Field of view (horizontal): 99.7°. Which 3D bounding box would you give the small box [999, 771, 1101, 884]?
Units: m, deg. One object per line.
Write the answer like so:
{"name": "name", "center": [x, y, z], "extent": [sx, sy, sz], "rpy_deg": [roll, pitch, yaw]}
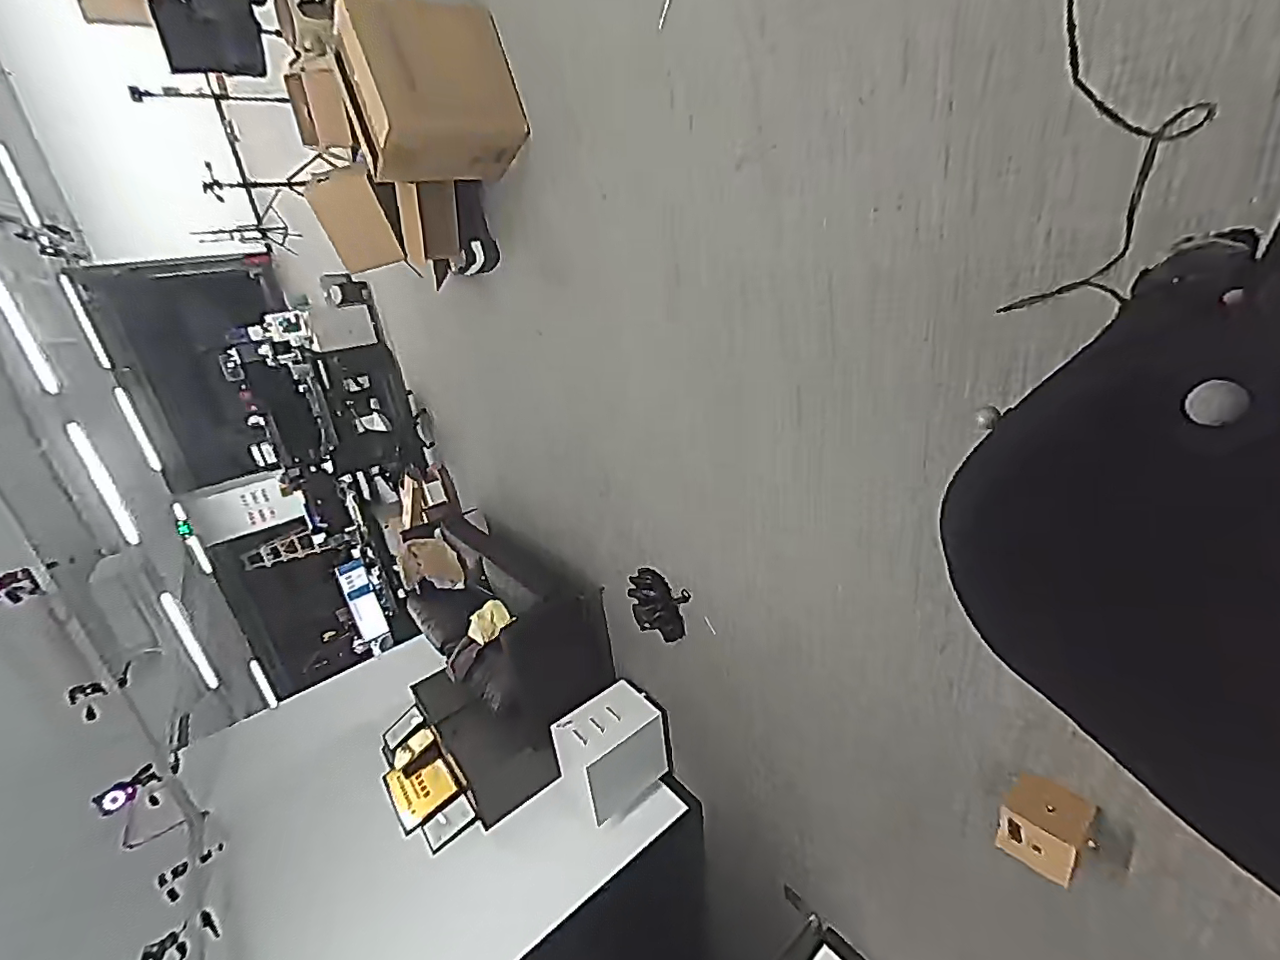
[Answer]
{"name": "small box", "center": [1.137, 0.951, 1.504], "extent": [0.179, 0.176, 0.168], "rpy_deg": [17, 123, 48]}
